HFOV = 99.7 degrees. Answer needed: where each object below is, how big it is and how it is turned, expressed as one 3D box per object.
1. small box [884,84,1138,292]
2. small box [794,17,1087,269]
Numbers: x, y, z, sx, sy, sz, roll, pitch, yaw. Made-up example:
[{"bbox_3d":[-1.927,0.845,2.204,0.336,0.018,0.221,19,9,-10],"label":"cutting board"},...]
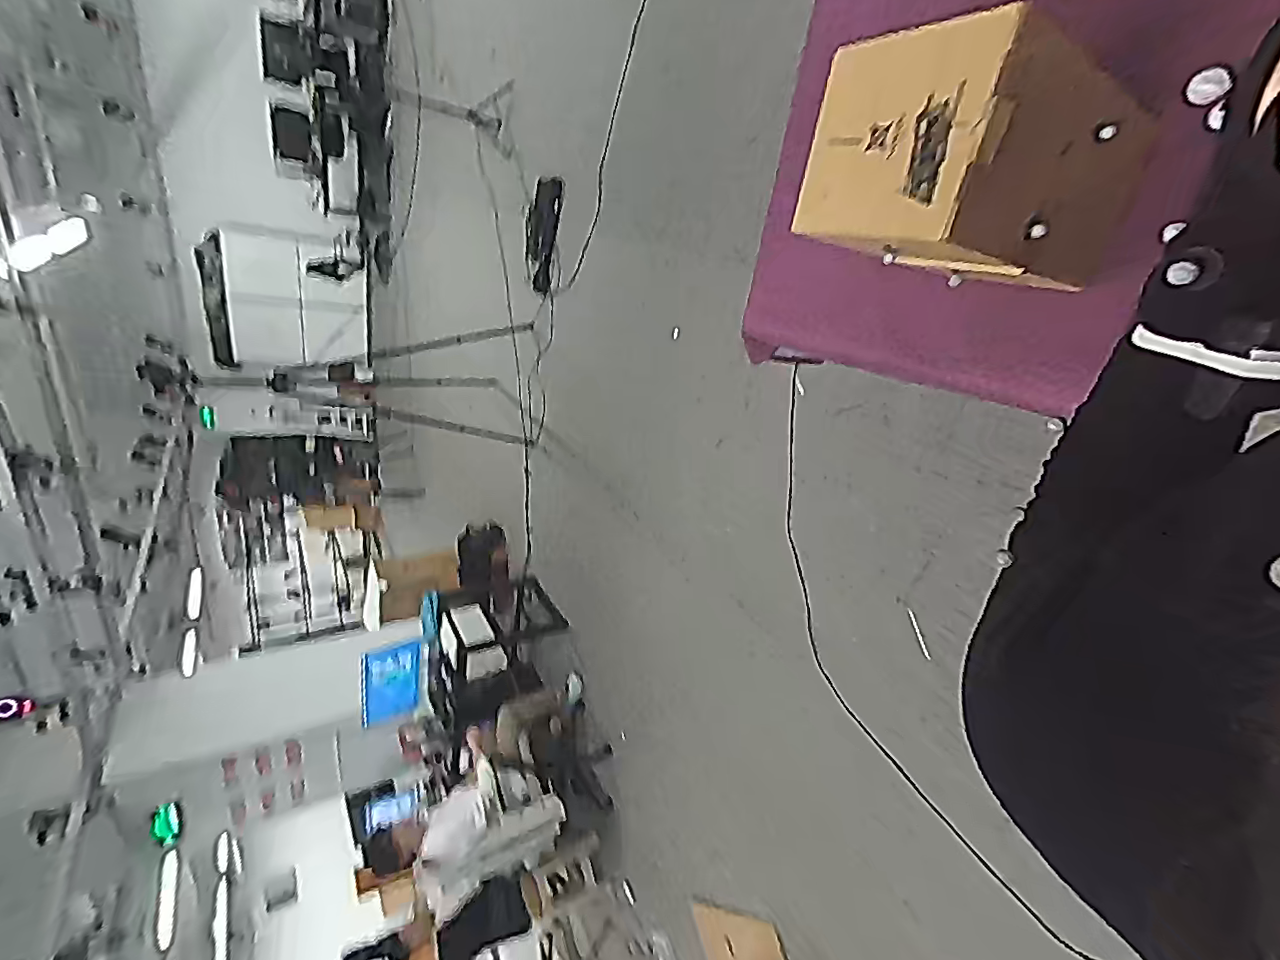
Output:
[{"bbox_3d":[0.429,-0.326,0.634,0.168,0.176,0.179,36,122,48],"label":"small box"},{"bbox_3d":[0.294,-0.314,0.542,0.179,0.176,0.168,37,123,49],"label":"small box"}]
